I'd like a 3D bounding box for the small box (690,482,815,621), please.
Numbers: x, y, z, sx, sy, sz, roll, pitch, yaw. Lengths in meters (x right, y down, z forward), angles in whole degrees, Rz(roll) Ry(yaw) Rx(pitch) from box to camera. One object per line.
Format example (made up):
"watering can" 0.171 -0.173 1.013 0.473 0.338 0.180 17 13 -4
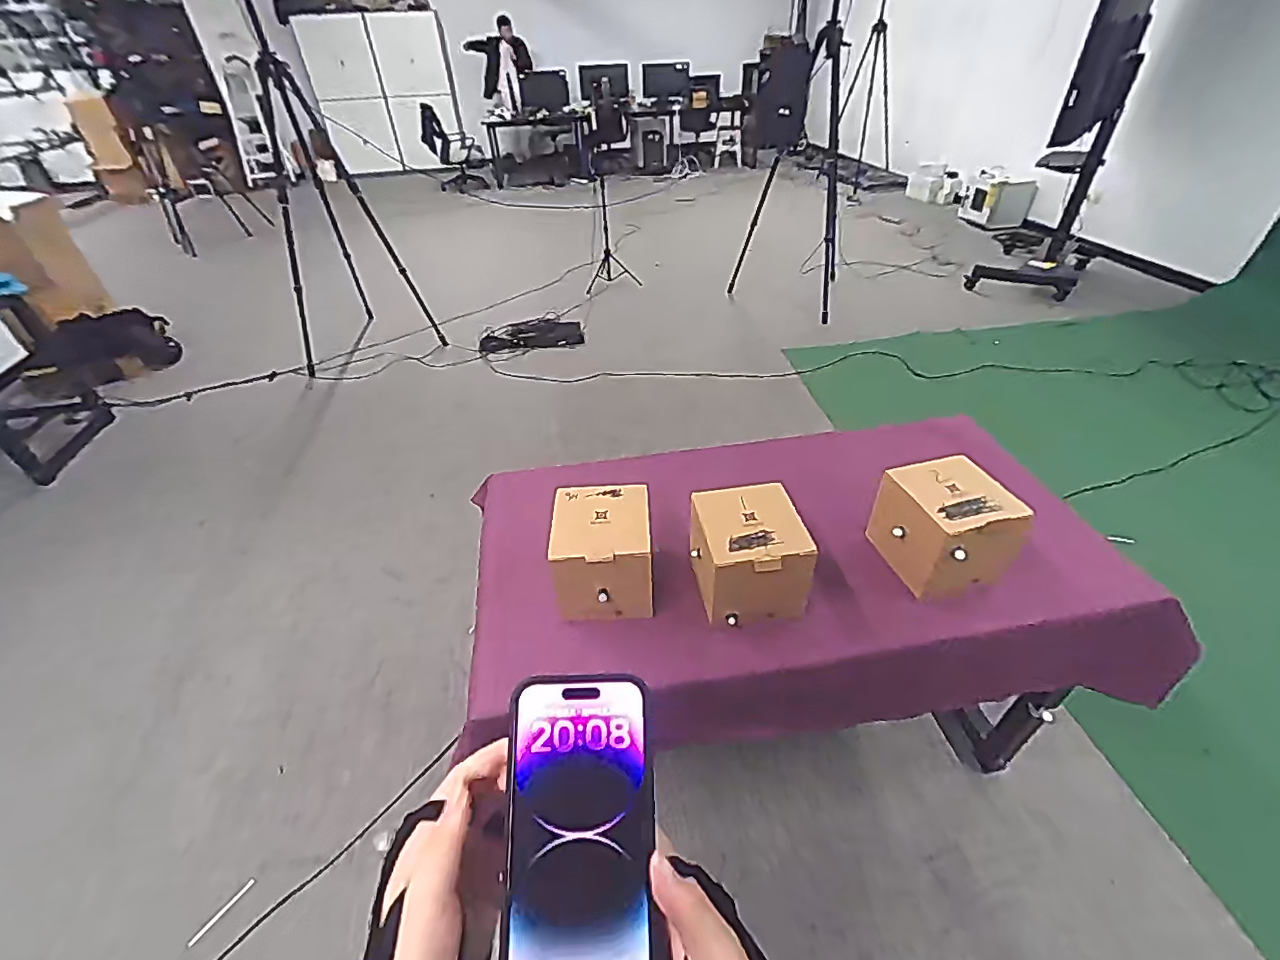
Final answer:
"small box" 0.187 0.129 0.946 0.168 0.176 0.179 -7 39 -5

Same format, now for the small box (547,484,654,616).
"small box" -0.063 0.130 0.964 0.168 0.176 0.179 -3 40 0
